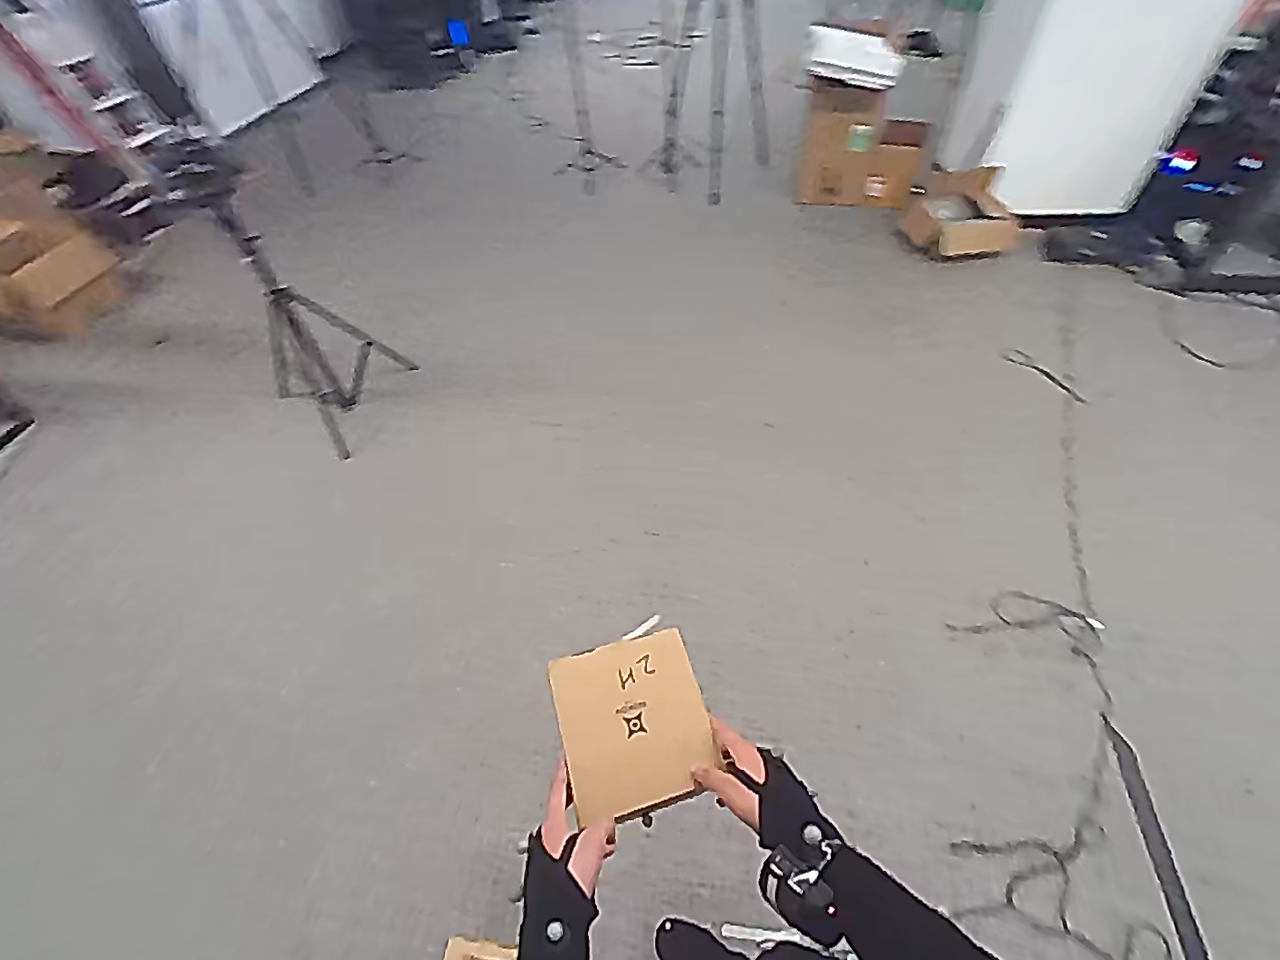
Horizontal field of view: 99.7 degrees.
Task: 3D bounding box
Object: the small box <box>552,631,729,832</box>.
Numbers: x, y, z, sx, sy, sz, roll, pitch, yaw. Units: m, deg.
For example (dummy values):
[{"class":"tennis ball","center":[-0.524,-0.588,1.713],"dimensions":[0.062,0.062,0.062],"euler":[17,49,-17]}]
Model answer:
[{"class":"small box","center":[-0.009,0.313,0.668],"dimensions":[0.168,0.176,0.179],"euler":[-10,56,-13]}]
